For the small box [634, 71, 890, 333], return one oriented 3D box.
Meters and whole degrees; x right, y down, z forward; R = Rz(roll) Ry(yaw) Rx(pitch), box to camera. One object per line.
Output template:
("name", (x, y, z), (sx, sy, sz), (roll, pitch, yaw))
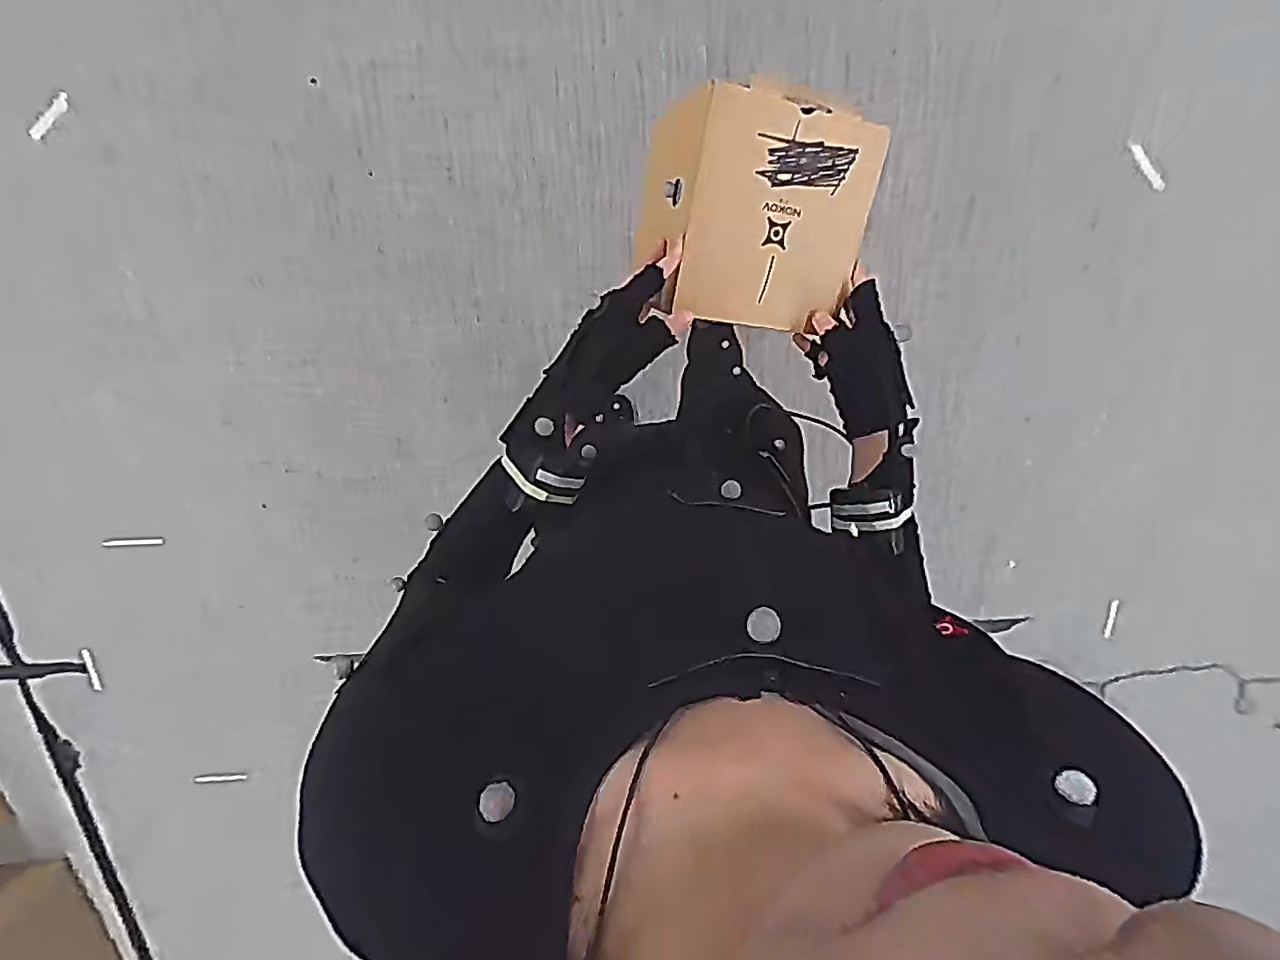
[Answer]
("small box", (0.099, -0.251, 0.526), (0.168, 0.176, 0.179), (3, 112, -16))
